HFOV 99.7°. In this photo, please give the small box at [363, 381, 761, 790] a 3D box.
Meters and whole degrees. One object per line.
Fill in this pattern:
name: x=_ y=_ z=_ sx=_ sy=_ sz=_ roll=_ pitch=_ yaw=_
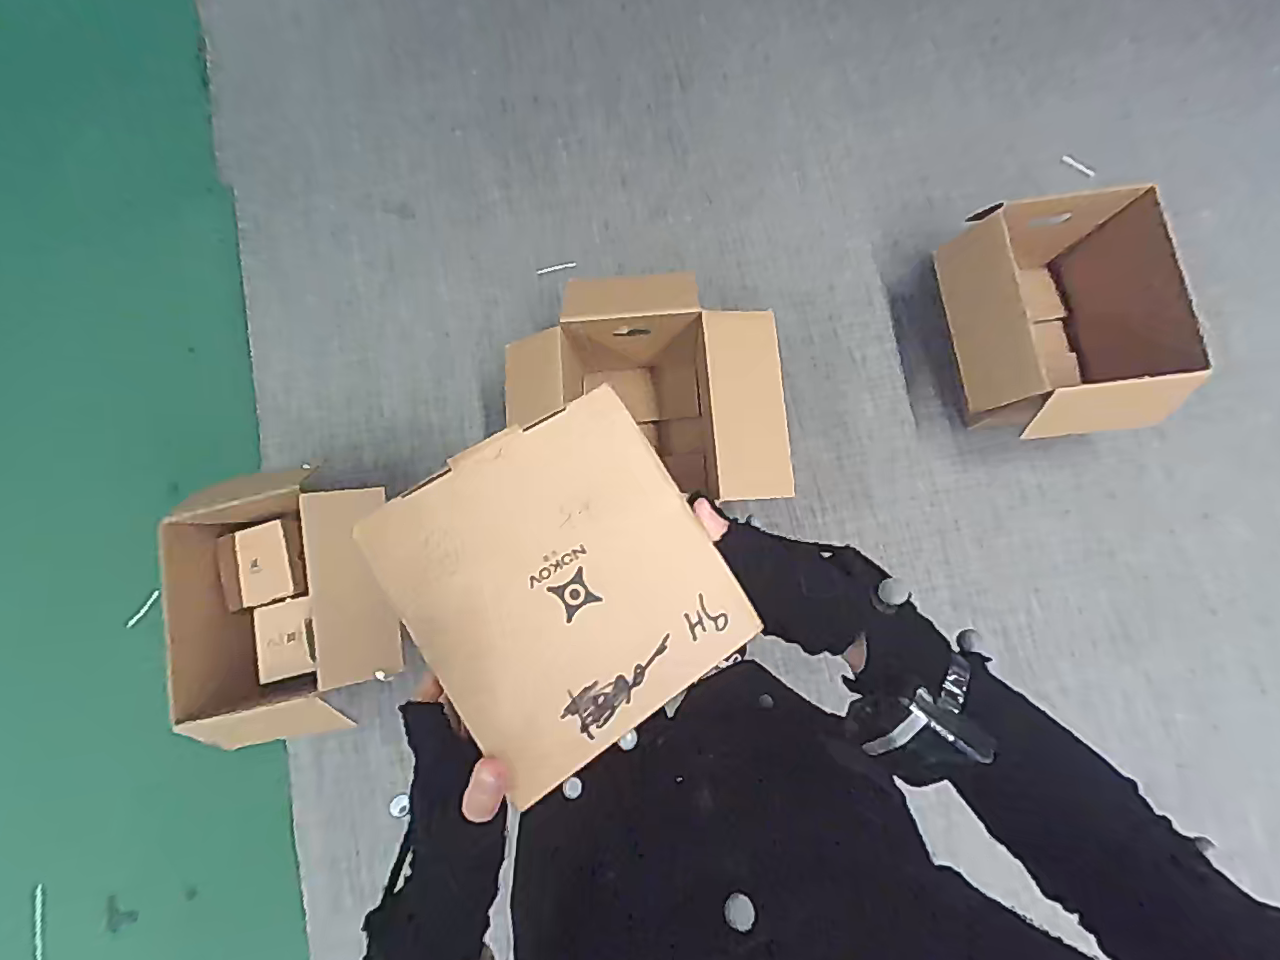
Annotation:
small box: x=-0.054 y=0.065 z=0.380 sx=0.168 sy=0.176 sz=0.179 roll=-31 pitch=86 yaw=-14
